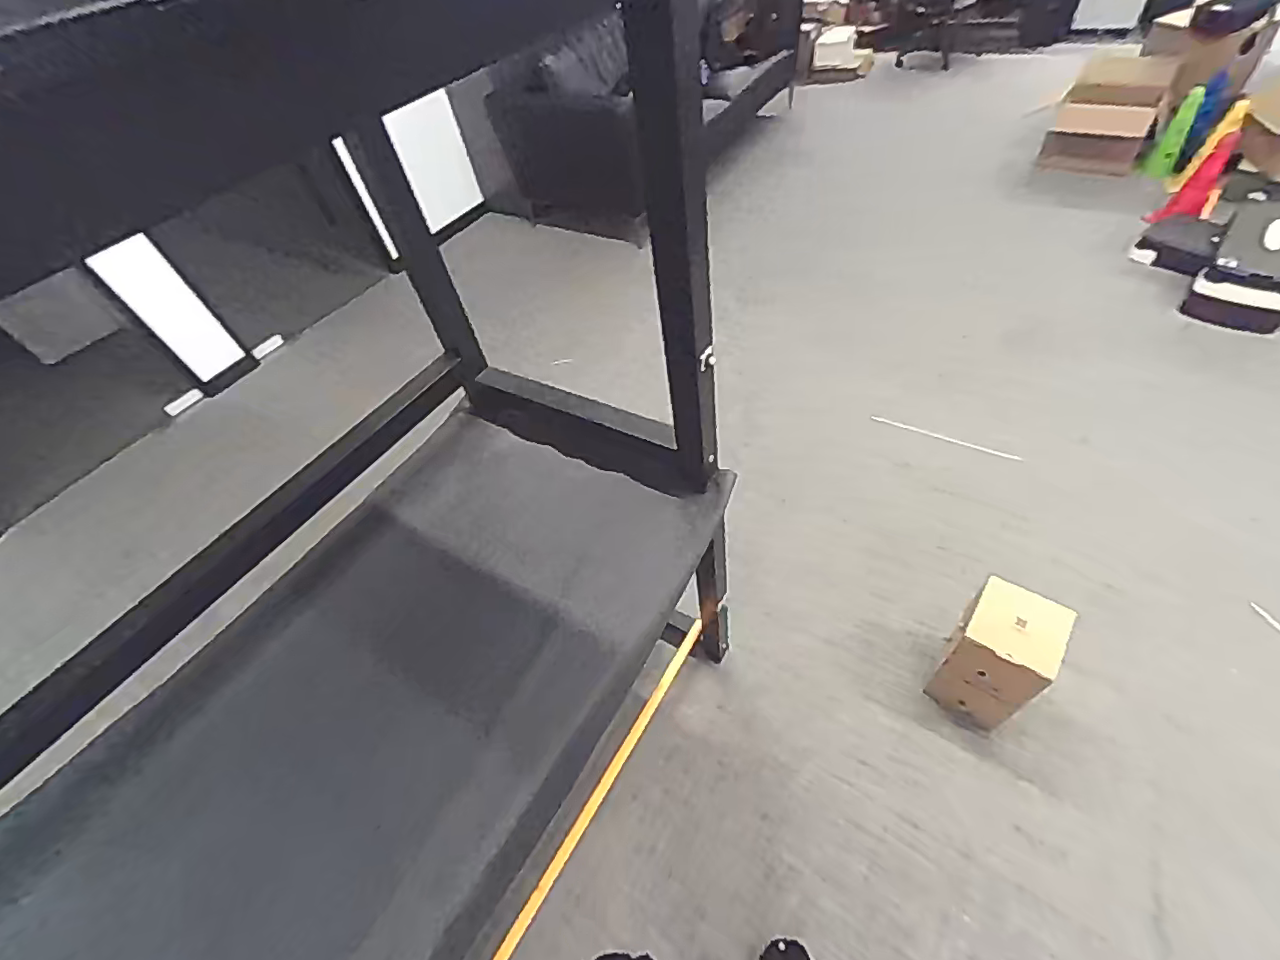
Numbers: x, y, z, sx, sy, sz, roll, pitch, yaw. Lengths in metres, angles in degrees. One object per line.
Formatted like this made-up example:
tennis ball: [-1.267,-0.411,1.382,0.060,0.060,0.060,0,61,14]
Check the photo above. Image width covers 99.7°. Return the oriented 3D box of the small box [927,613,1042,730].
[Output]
small box: [0.818,0.462,1.299,0.168,0.176,0.179,28,61,30]
